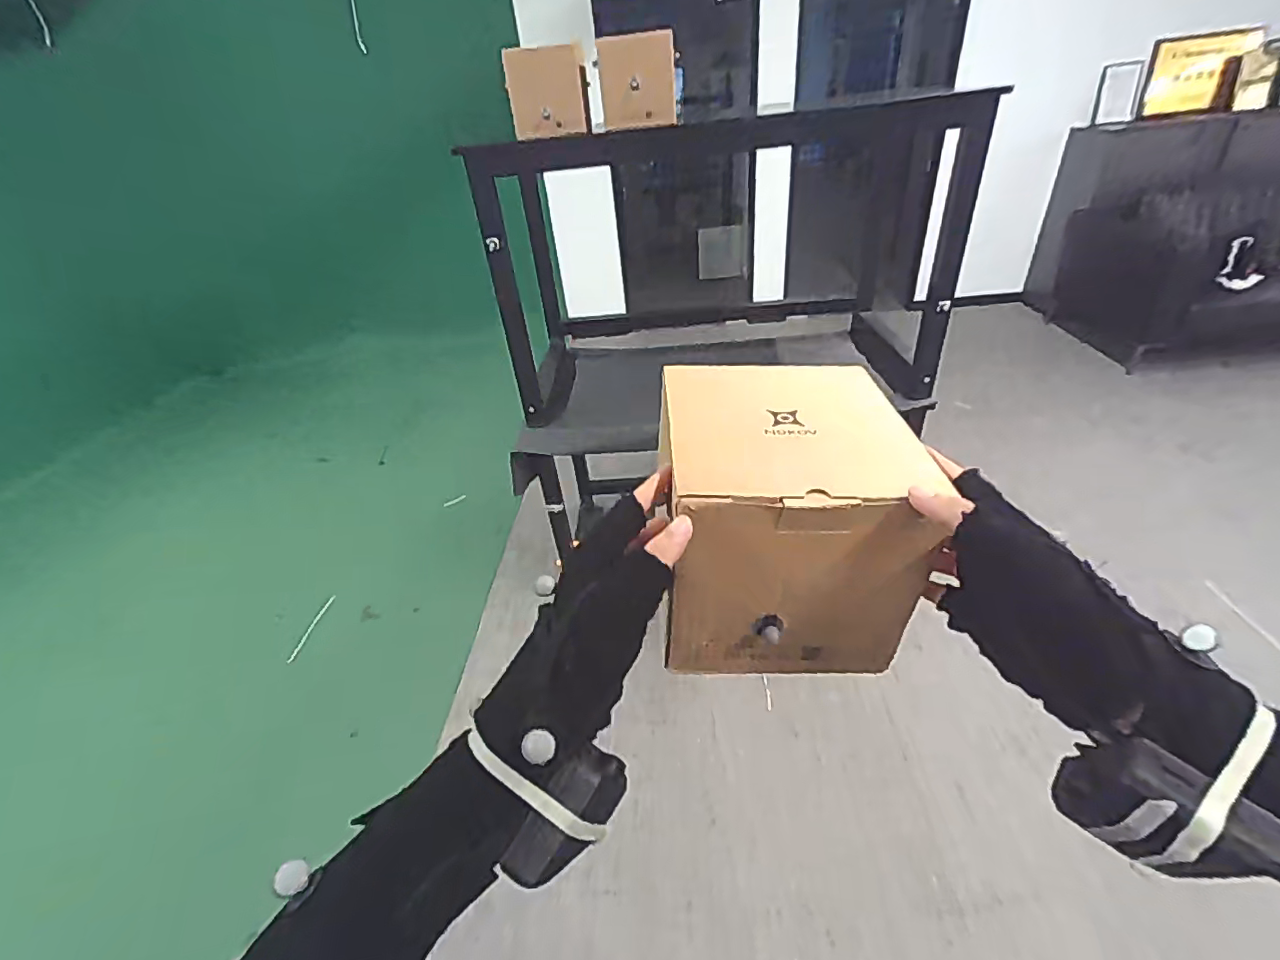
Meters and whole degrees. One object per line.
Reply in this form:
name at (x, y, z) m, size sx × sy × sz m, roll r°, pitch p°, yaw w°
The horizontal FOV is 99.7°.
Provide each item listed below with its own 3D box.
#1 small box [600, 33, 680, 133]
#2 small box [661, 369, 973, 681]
small box at (0.006, -0.918, 1.262) m, size 0.168 × 0.176 × 0.179 m, roll -2°, pitch 35°, yaw 5°
small box at (0.104, 0.029, 0.417) m, size 0.168 × 0.176 × 0.179 m, roll 0°, pitch 37°, yaw -1°
